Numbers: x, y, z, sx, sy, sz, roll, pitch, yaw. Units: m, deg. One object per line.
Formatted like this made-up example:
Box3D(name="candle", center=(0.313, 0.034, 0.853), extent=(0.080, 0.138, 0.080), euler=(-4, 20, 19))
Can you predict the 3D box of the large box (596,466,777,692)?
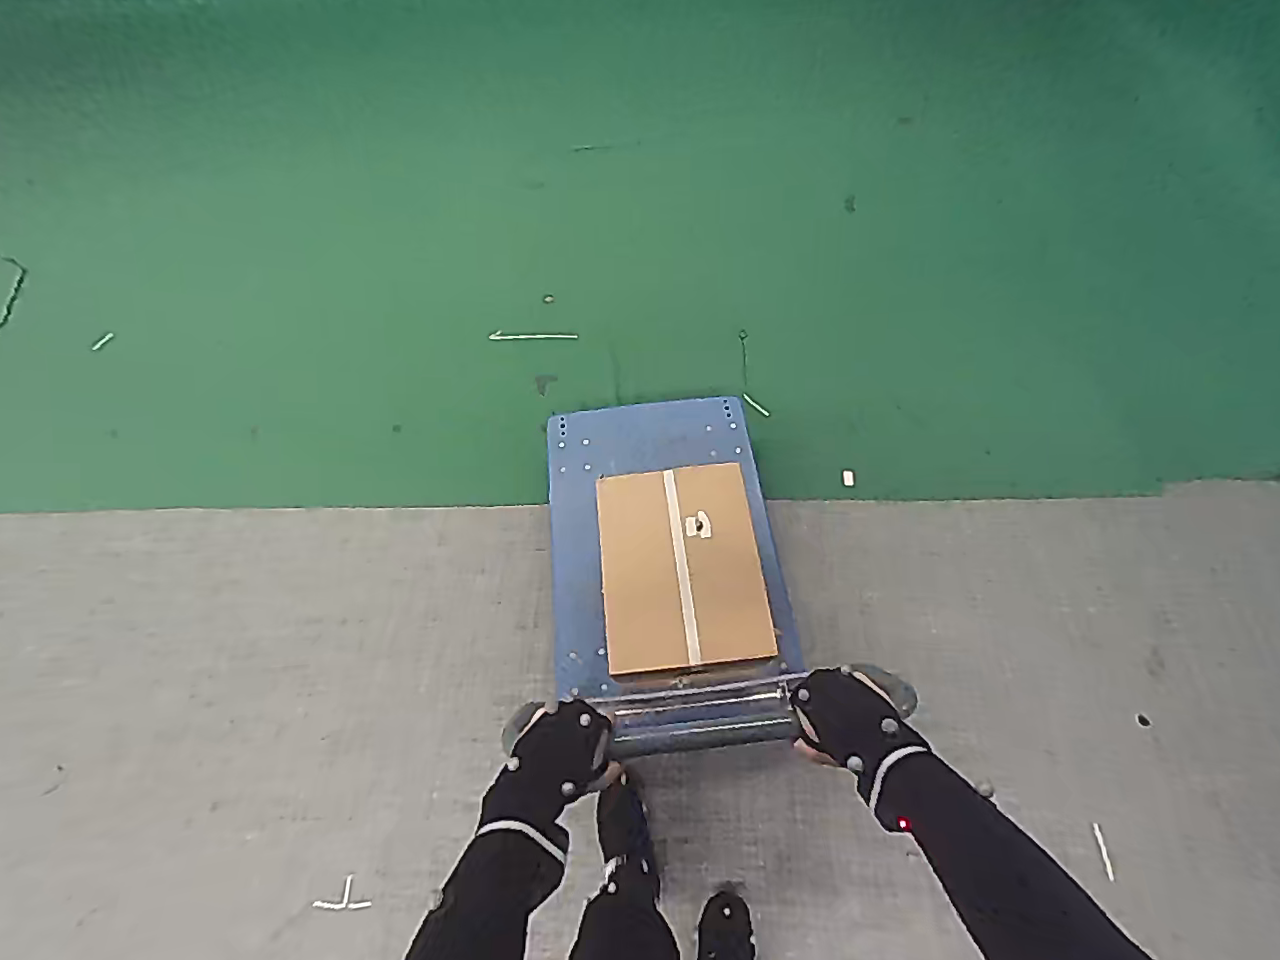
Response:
Box3D(name="large box", center=(0.087, 0.231, 1.208), extent=(0.320, 0.320, 0.408), euler=(-6, 63, -1))
